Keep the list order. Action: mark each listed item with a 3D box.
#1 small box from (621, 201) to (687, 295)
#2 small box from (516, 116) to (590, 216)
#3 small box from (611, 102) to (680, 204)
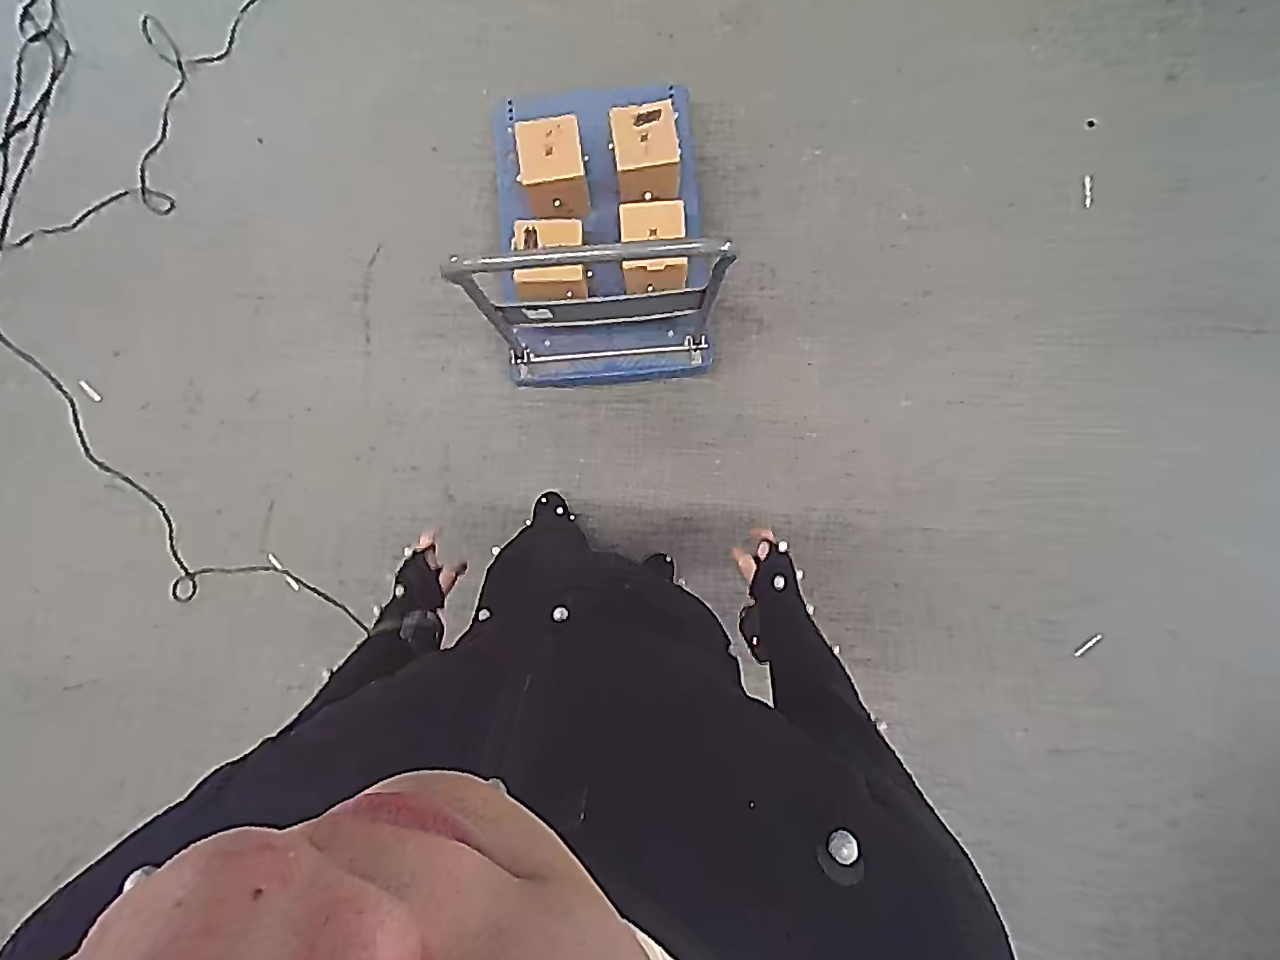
[{"bbox_3d":[0.036,-0.627,1.472,0.168,0.176,0.179,-4,85,1],"label":"small box"},{"bbox_3d":[-0.234,-0.858,1.498,0.168,0.176,0.179,-8,84,0],"label":"small box"},{"bbox_3d":[0.015,-0.895,1.496,0.168,0.176,0.179,-8,85,1],"label":"small box"}]
